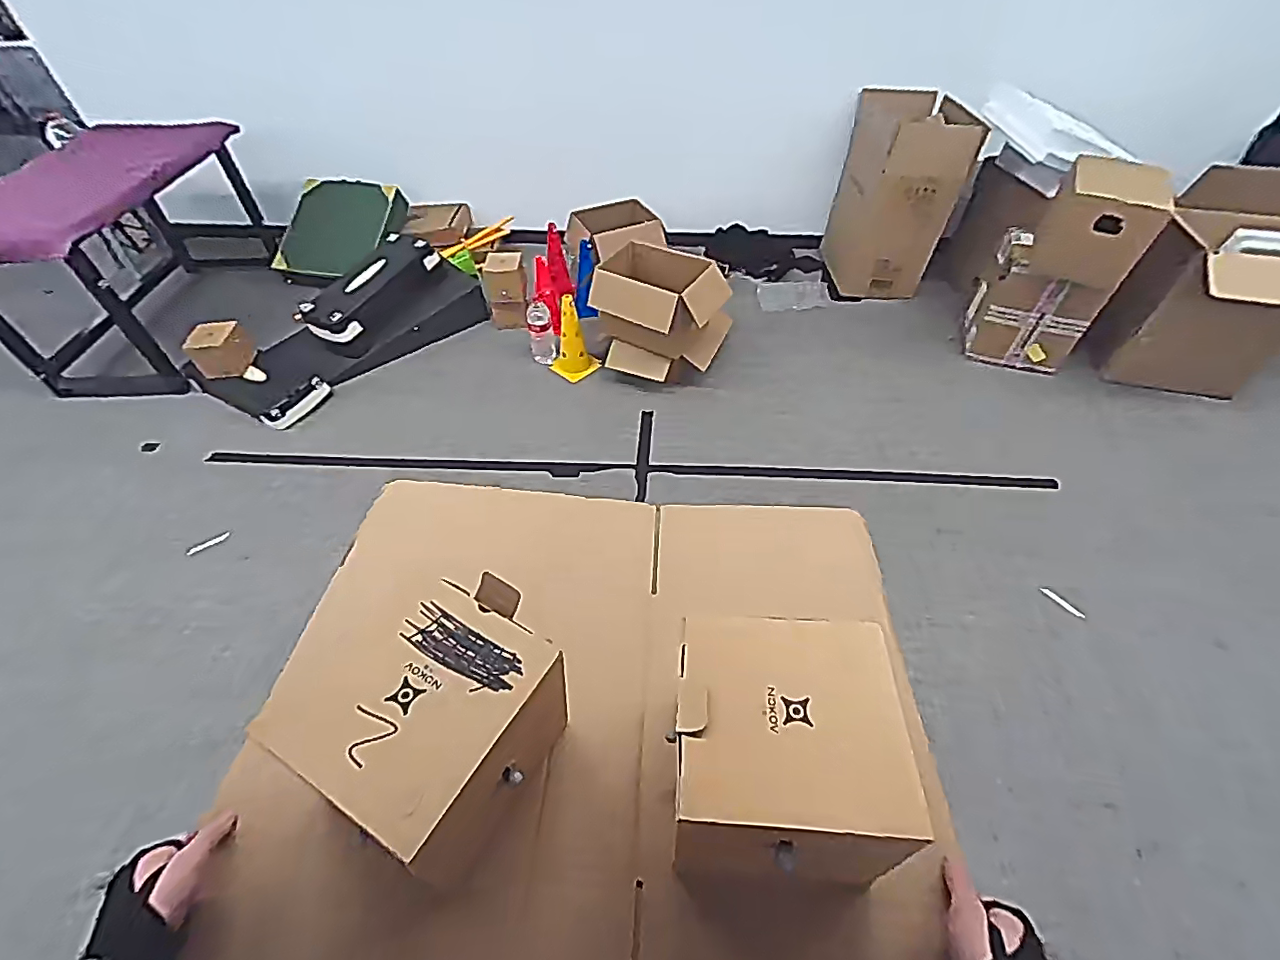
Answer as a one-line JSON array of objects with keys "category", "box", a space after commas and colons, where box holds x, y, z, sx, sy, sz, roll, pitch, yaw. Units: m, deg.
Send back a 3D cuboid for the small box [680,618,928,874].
[{"category": "small box", "box": [0.127, 0.245, 0.497, 0.179, 0.176, 0.168, 1, 45, 6]}]
